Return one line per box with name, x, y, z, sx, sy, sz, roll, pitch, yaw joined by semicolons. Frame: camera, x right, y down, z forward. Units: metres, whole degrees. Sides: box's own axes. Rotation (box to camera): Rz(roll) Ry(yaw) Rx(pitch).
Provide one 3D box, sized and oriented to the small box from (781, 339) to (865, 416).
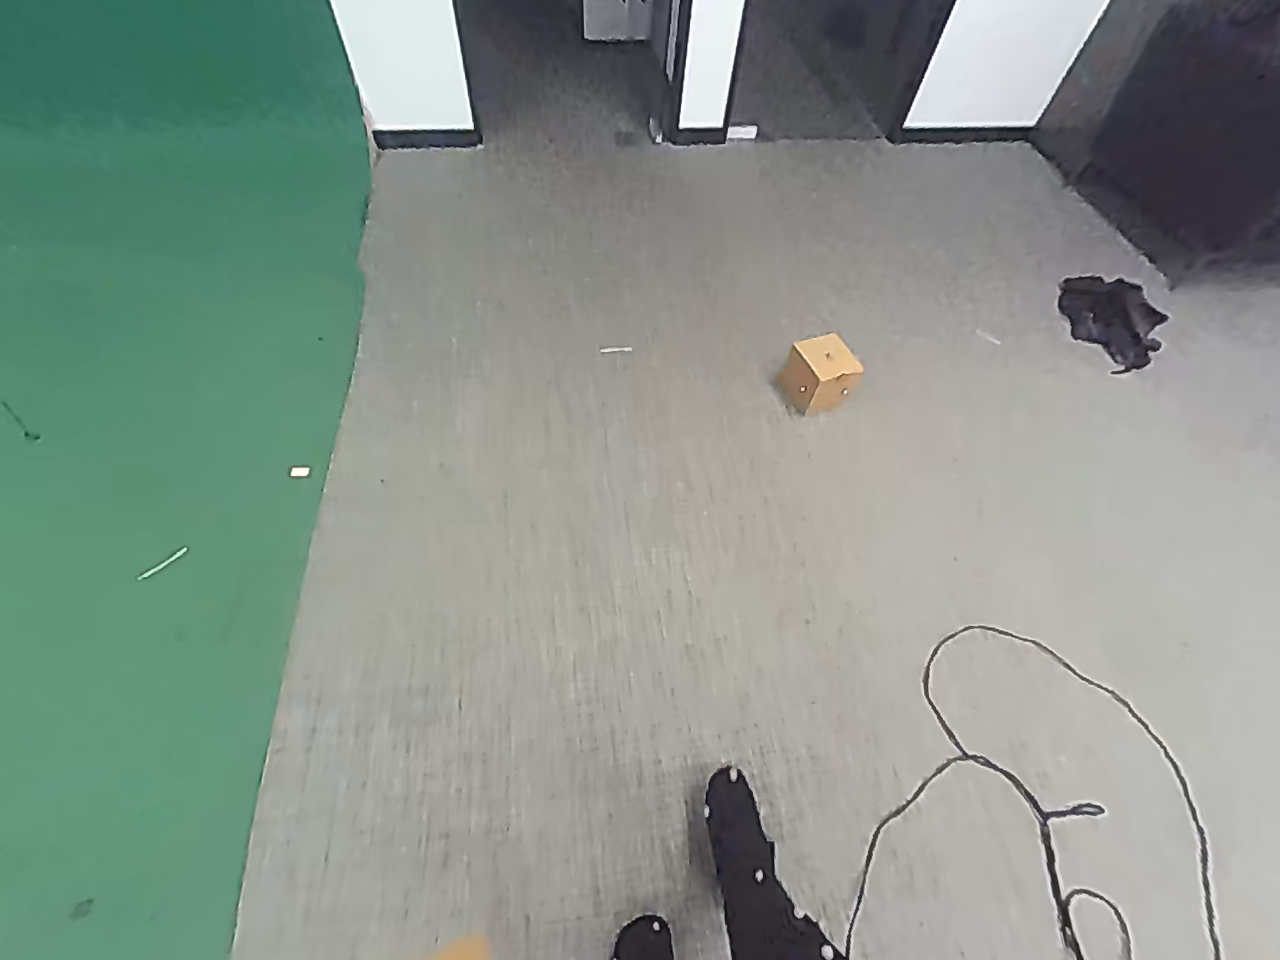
small box;0.588;-0.326;1.760;0.168;0.176;0.179;-16;58;-16
